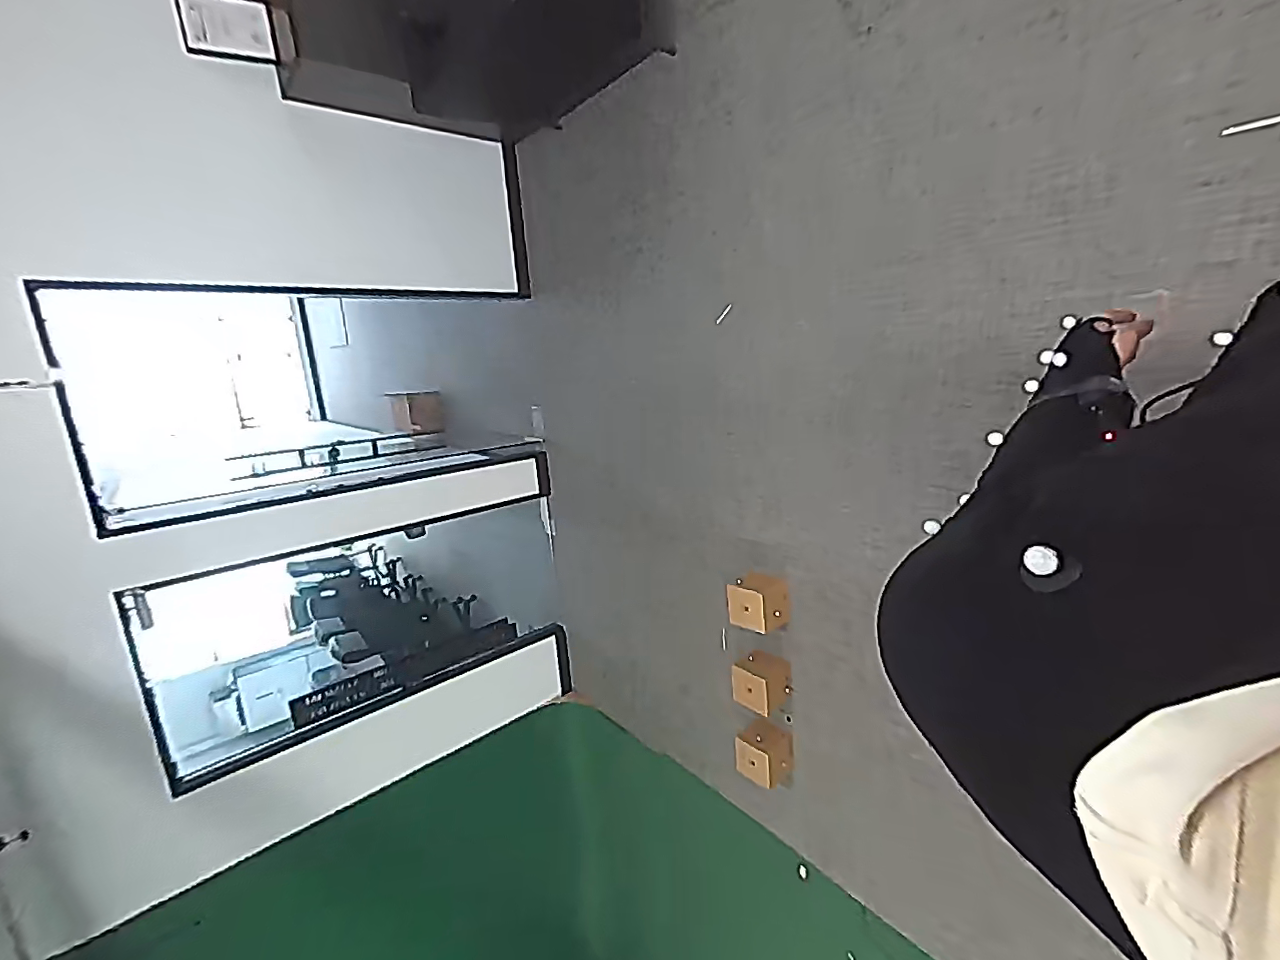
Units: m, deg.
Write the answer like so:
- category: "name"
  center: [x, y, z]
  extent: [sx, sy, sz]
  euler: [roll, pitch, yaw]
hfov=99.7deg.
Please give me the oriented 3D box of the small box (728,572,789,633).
- category: "small box"
  center: [0.474, 0.476, 2.136]
  extent: [0.179, 0.176, 0.168]
  euler: [6, 105, 51]

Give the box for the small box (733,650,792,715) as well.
- category: "small box"
  center: [0.500, 0.818, 2.206]
  extent: [0.179, 0.176, 0.168]
  euler: [10, 109, 49]

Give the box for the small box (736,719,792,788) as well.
- category: "small box"
  center: [0.524, 1.139, 2.270]
  extent: [0.179, 0.176, 0.168]
  euler: [10, 108, 50]
